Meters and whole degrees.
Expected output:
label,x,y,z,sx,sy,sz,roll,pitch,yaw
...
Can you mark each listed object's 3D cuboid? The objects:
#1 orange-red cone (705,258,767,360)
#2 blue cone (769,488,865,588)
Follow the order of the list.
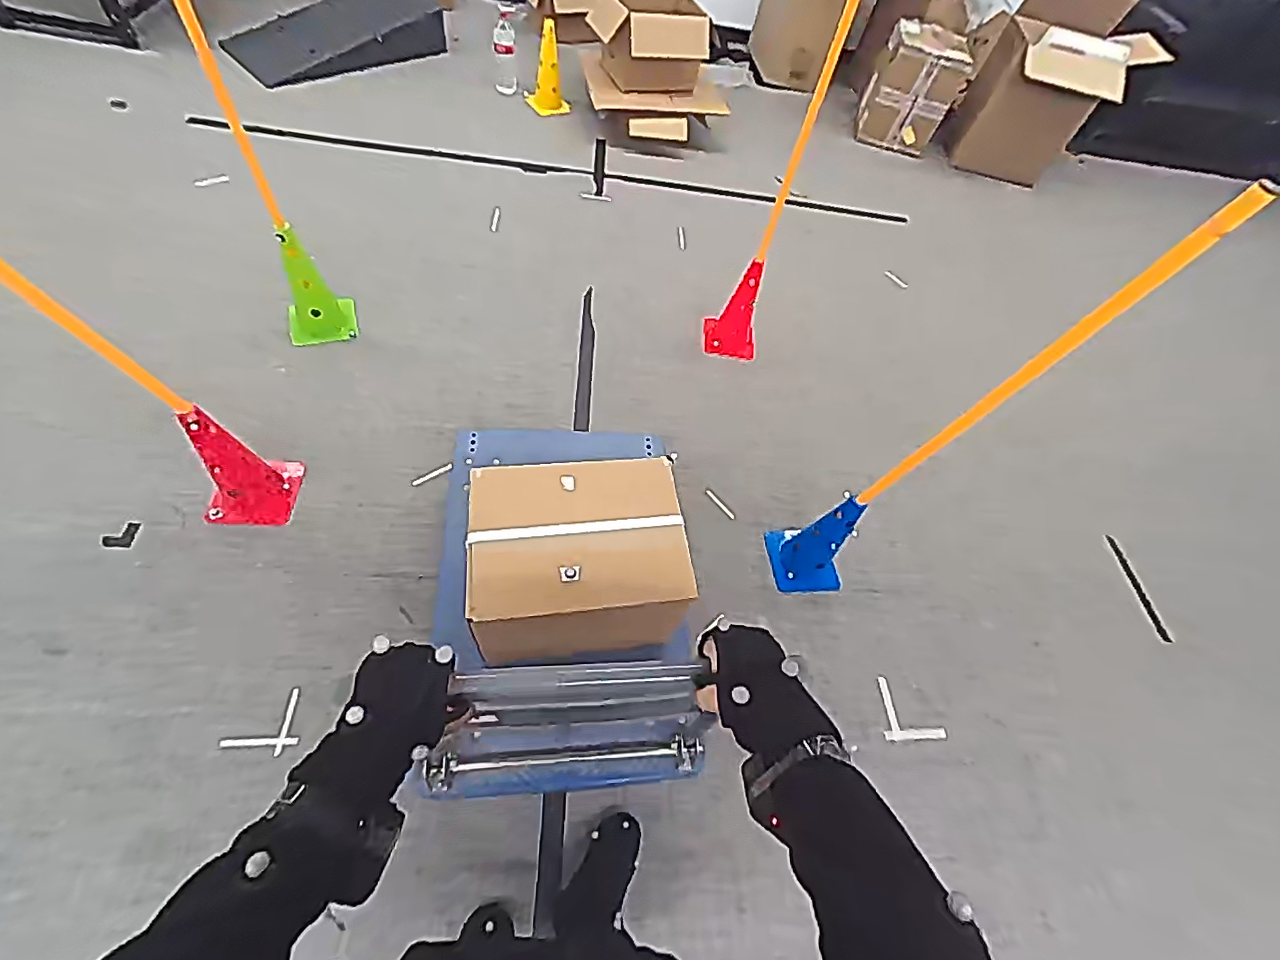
label,x,y,z,sx,sy,sz,roll,pitch,yaw
orange-red cone,0.378,-0.634,1.937,0.199,0.360,0.198,10,57,-5
blue cone,0.516,0.145,1.485,0.193,0.380,0.192,1,57,-10
